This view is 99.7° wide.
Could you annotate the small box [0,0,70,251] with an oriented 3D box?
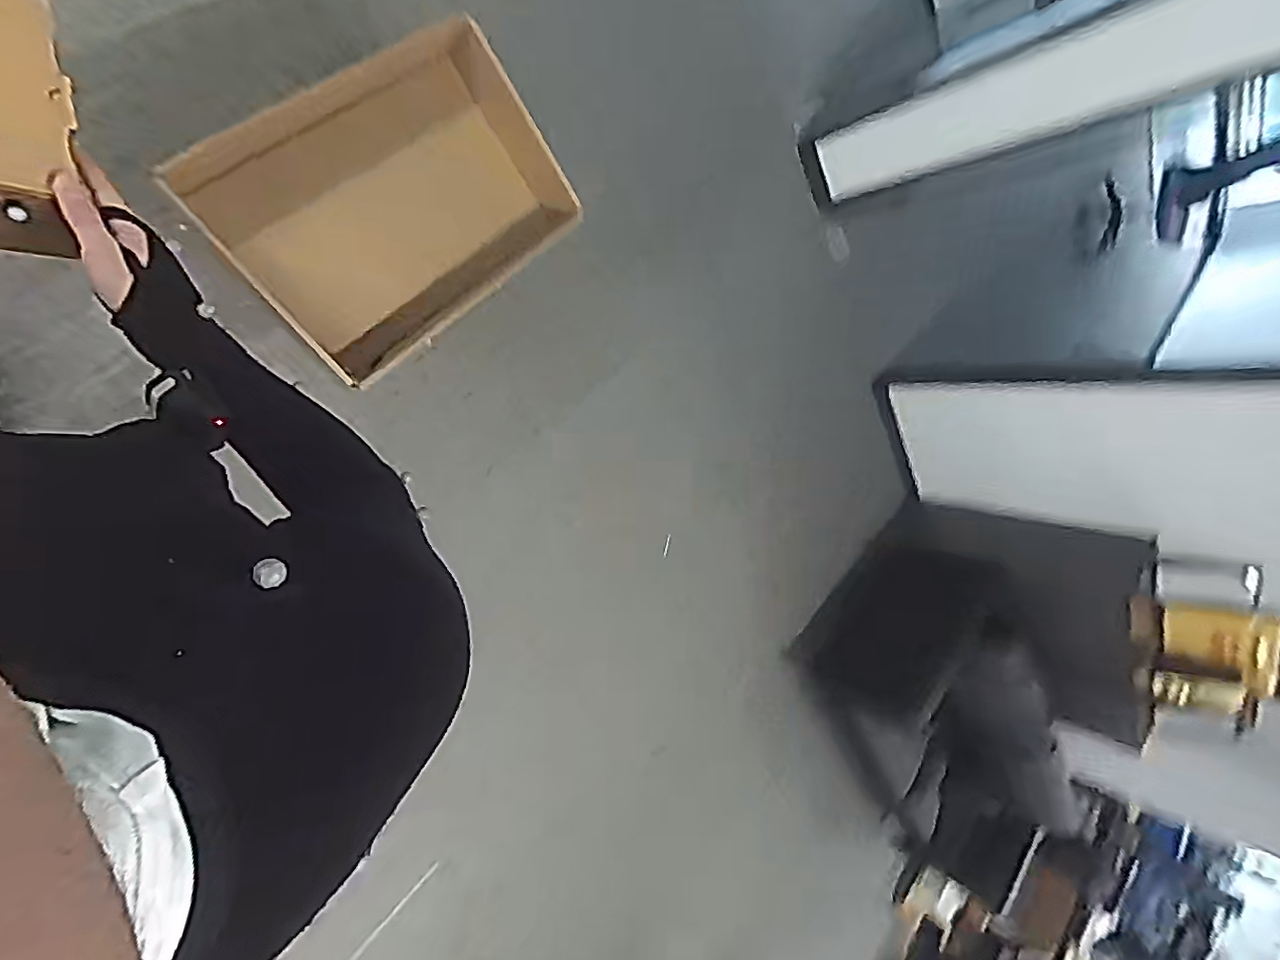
[{"bbox_3d":[-0.606,-0.305,0.441,0.179,0.176,0.168,-11,96,-46],"label":"small box"}]
